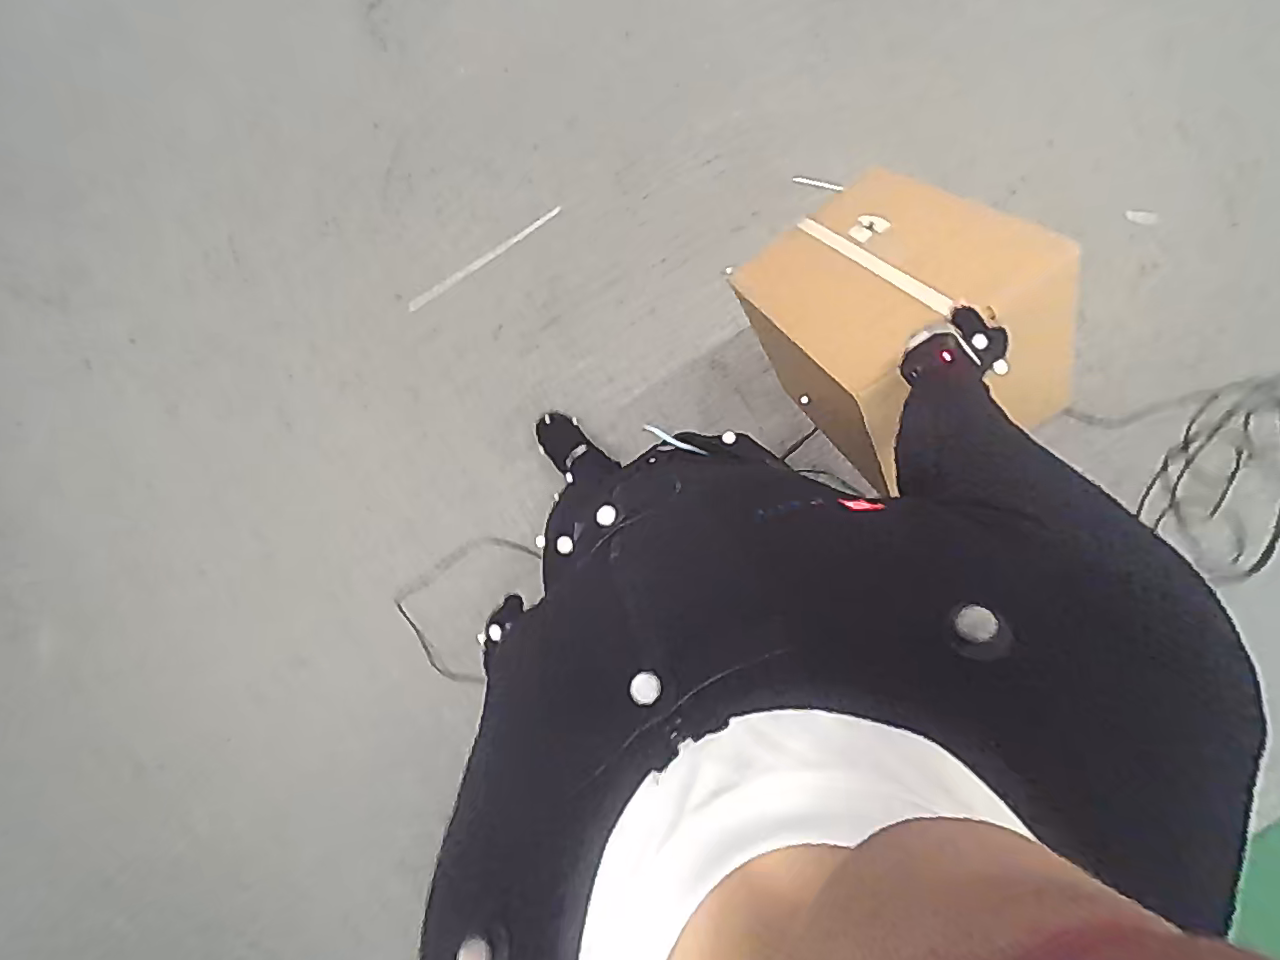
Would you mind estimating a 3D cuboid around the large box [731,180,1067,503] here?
[{"bbox_3d":[0.425,-0.240,0.927,0.320,0.408,0.320,-34,132,9],"label":"large box"}]
